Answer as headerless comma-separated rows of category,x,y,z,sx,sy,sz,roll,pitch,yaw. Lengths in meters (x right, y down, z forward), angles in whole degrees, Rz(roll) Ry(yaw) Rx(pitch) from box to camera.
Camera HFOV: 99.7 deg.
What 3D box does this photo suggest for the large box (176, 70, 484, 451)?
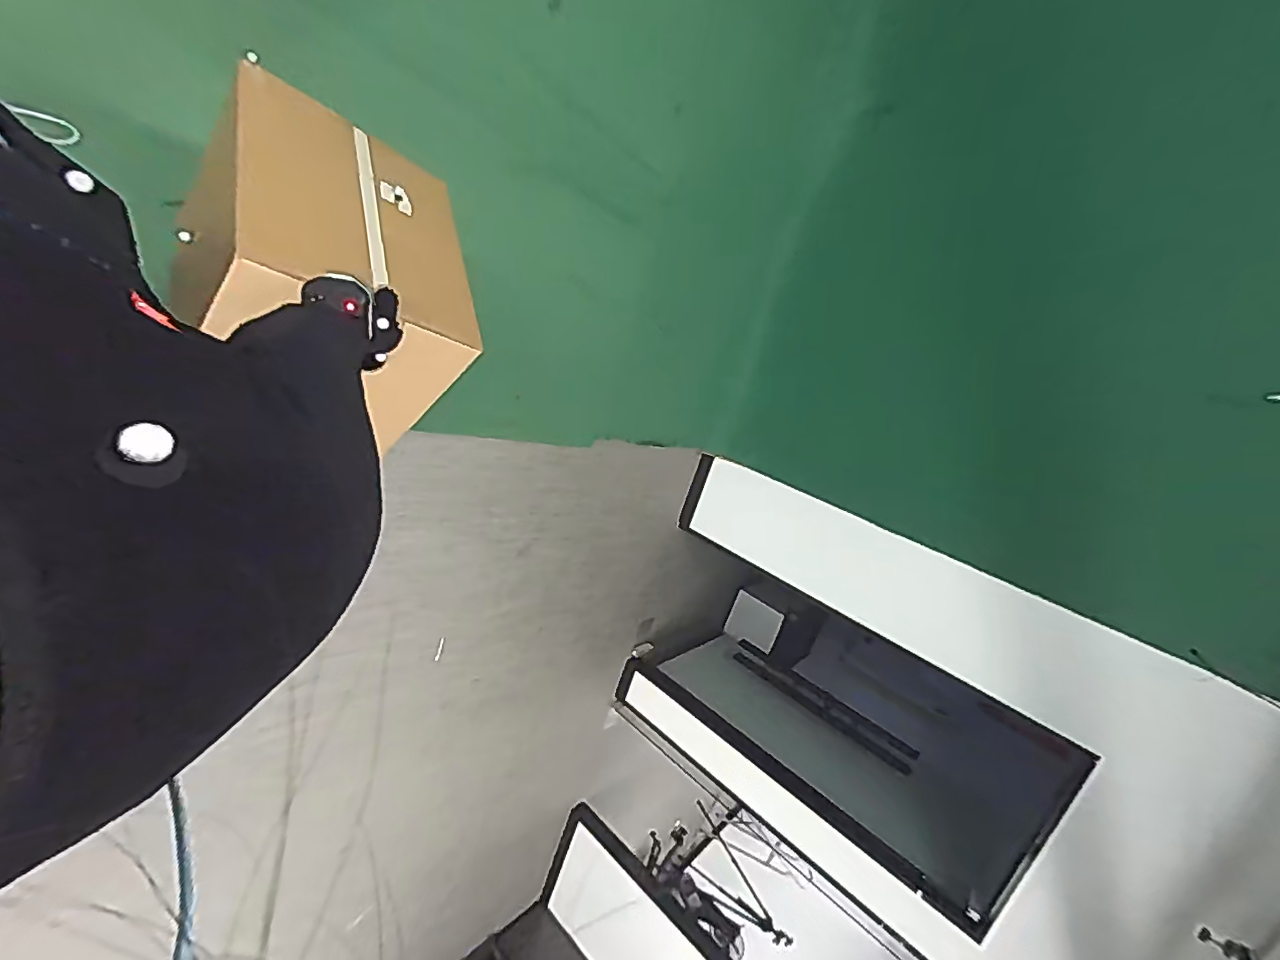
large box,-0.499,-0.308,0.860,0.320,0.408,0.320,-35,151,29
